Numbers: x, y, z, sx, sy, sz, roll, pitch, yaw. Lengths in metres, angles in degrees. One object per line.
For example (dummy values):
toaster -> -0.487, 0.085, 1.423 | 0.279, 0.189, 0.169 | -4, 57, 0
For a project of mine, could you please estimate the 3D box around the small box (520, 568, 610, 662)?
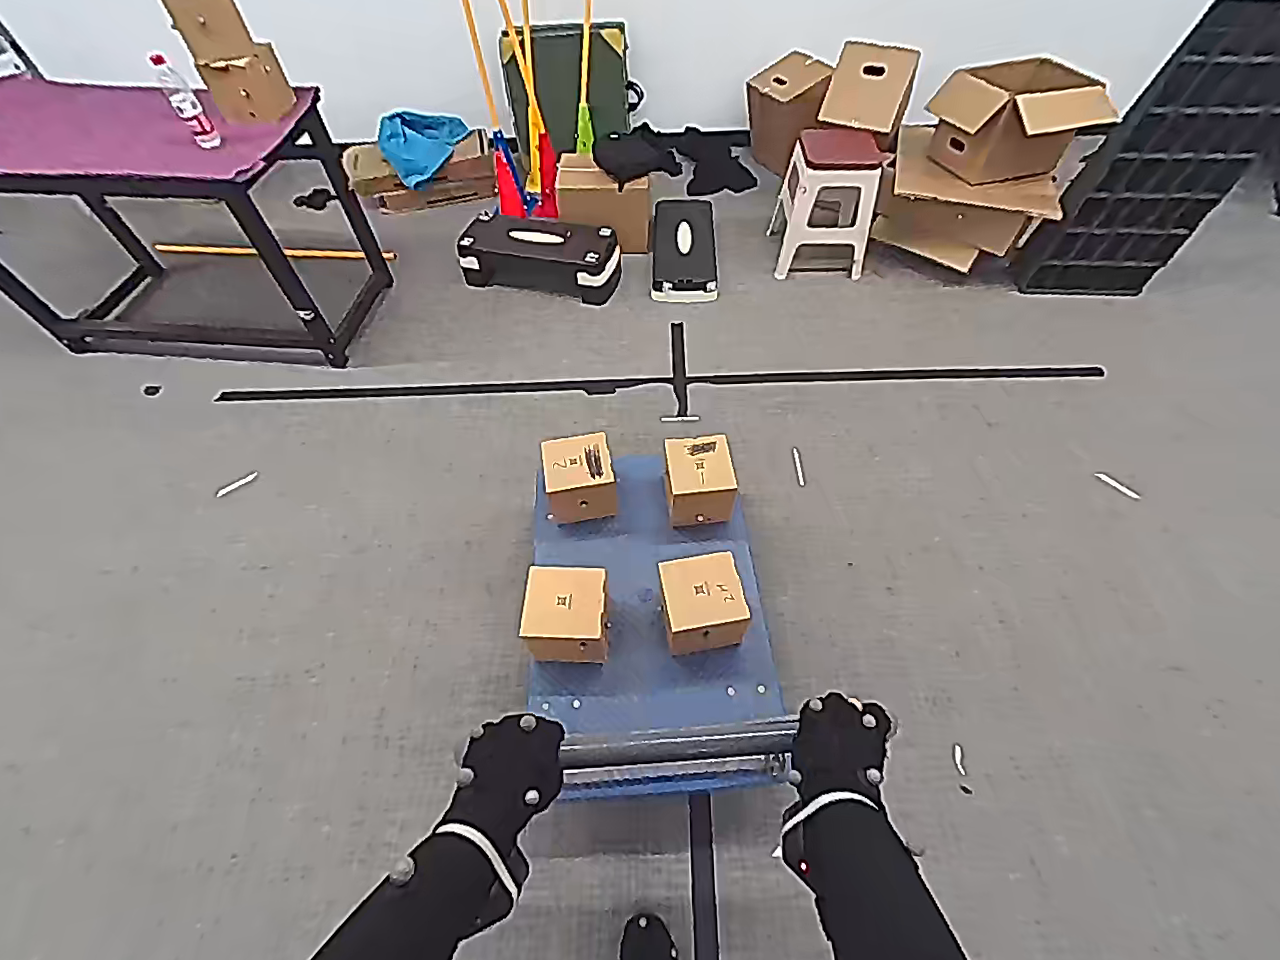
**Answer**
small box -> -0.167, 0.316, 1.256 | 0.179, 0.176, 0.168 | 2, 55, 1

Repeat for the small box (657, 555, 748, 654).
small box -> 0.139, 0.296, 1.264 | 0.179, 0.176, 0.168 | -8, 56, -4

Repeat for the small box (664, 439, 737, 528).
small box -> 0.157, 0.011, 1.459 | 0.168, 0.176, 0.179 | -5, 57, -2
